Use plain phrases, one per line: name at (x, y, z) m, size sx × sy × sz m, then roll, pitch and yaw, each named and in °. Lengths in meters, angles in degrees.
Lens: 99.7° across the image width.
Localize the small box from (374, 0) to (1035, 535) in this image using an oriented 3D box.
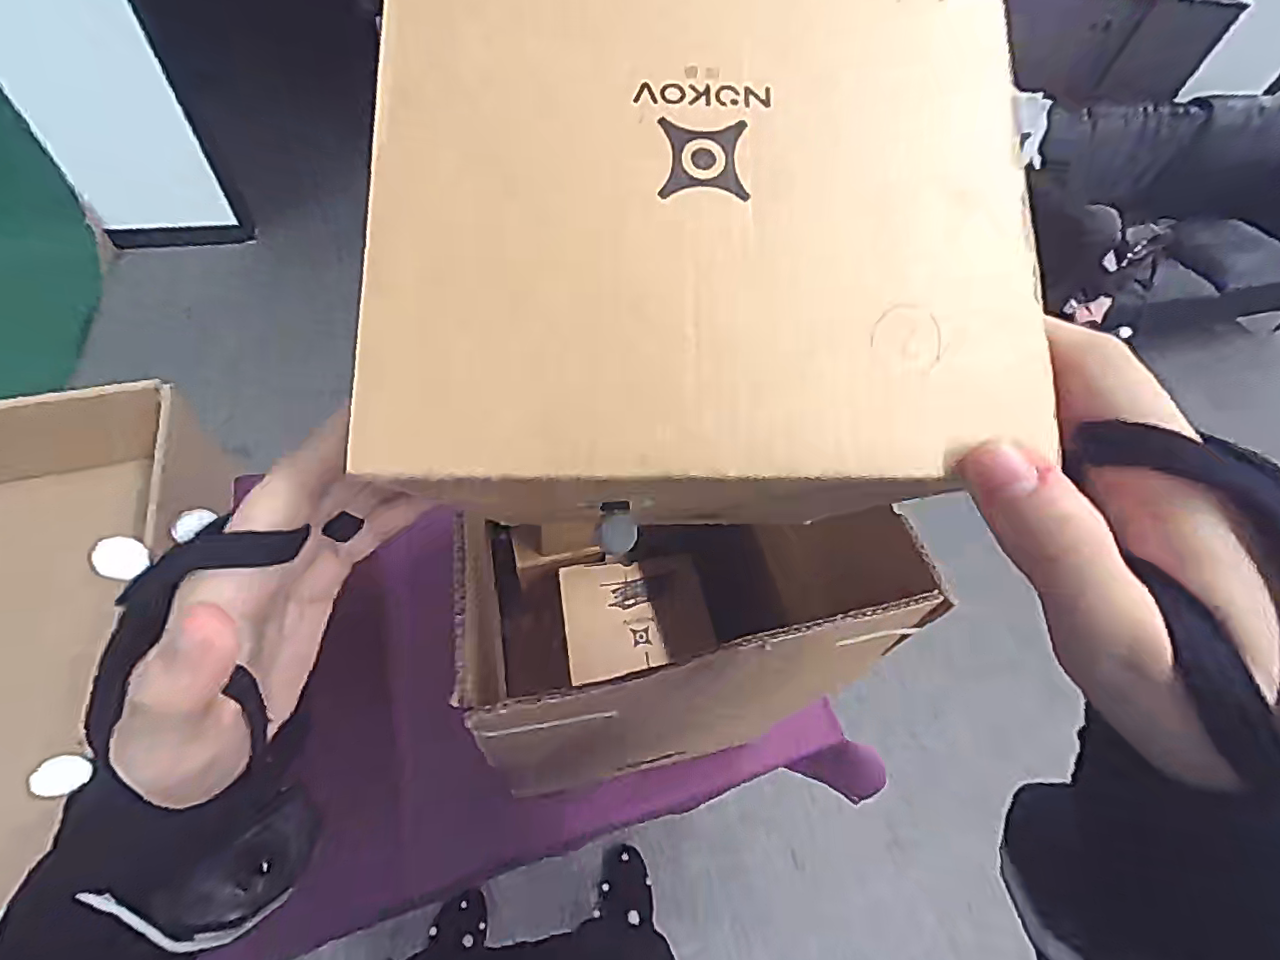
small box at (0.013, -0.068, 0.224) m, size 0.168 × 0.176 × 0.179 m, roll 0°, pitch 80°, yaw -3°
